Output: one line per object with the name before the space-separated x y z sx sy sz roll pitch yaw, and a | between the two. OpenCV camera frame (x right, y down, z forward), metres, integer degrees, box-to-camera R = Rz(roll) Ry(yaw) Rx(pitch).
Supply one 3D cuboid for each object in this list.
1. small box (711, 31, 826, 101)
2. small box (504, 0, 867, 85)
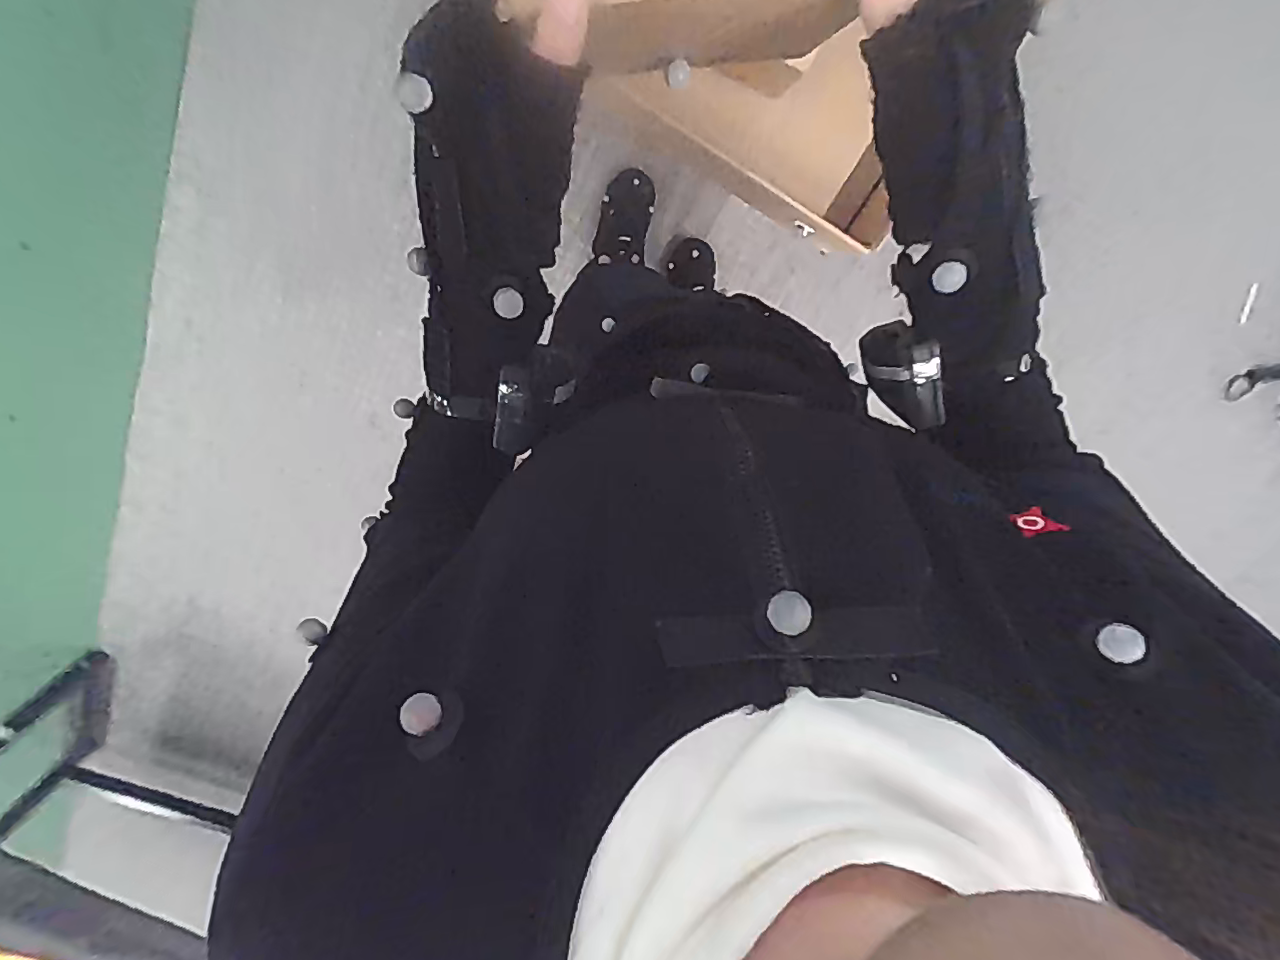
small box | 0.157 -0.613 0.667 0.168 0.176 0.179 22 113 -8
small box | 0.016 -0.309 0.248 0.168 0.176 0.179 -5 119 2
